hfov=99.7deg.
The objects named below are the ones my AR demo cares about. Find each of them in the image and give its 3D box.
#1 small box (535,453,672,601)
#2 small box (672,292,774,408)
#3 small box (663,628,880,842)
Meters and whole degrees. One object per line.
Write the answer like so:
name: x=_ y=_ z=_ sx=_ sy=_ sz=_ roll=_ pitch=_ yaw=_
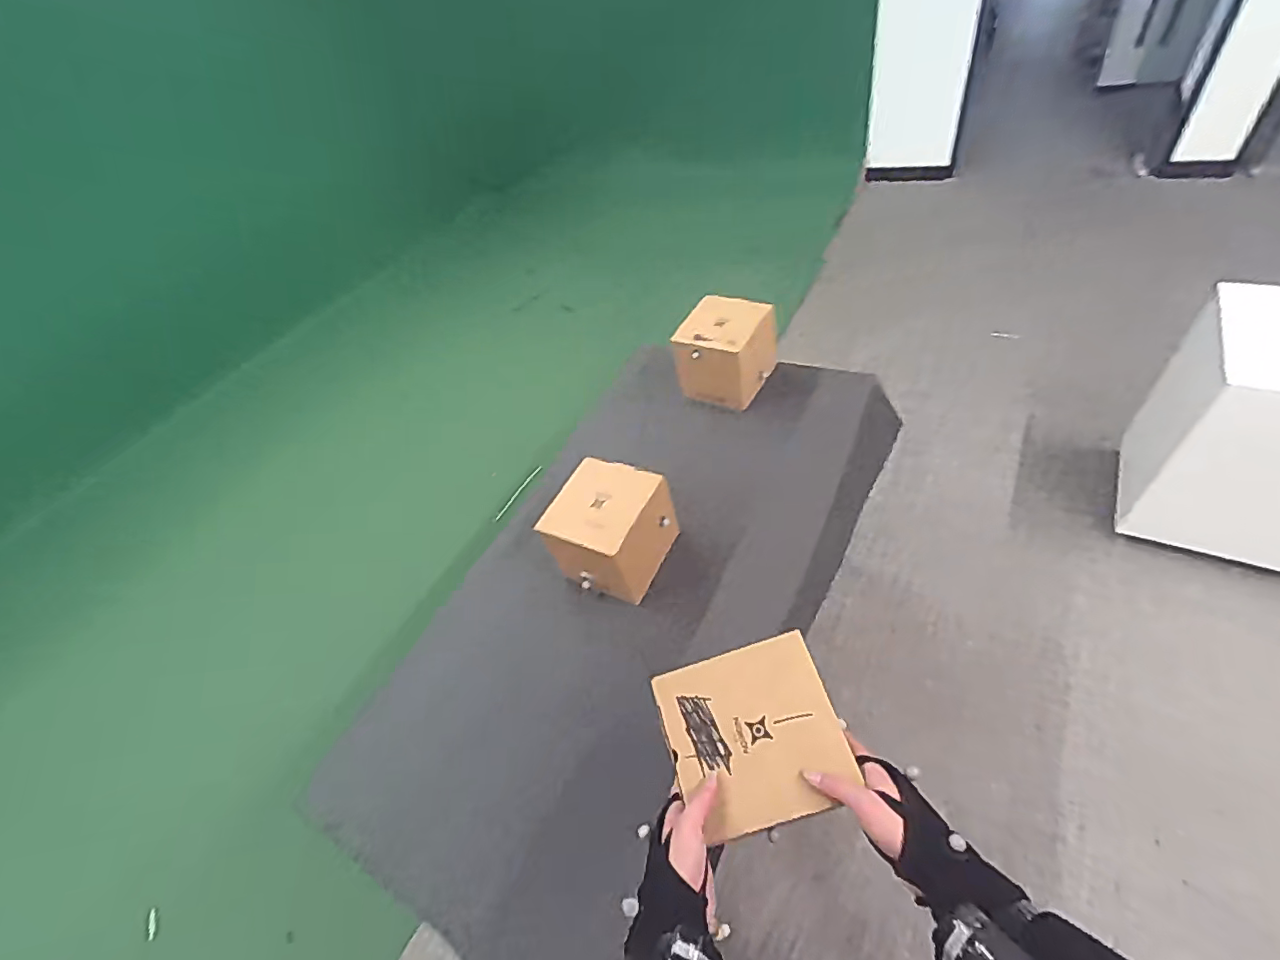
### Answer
small box: x=-0.053 y=0.083 z=0.966 sx=0.168 sy=0.176 sz=0.179 roll=15 pitch=56 yaw=26
small box: x=0.190 y=-0.295 z=1.224 sx=0.168 sy=0.176 sz=0.179 roll=20 pitch=58 yaw=28
small box: x=0.142 y=0.292 z=0.610 sx=0.179 sy=0.176 sz=0.168 roll=-18 pitch=56 yaw=3
